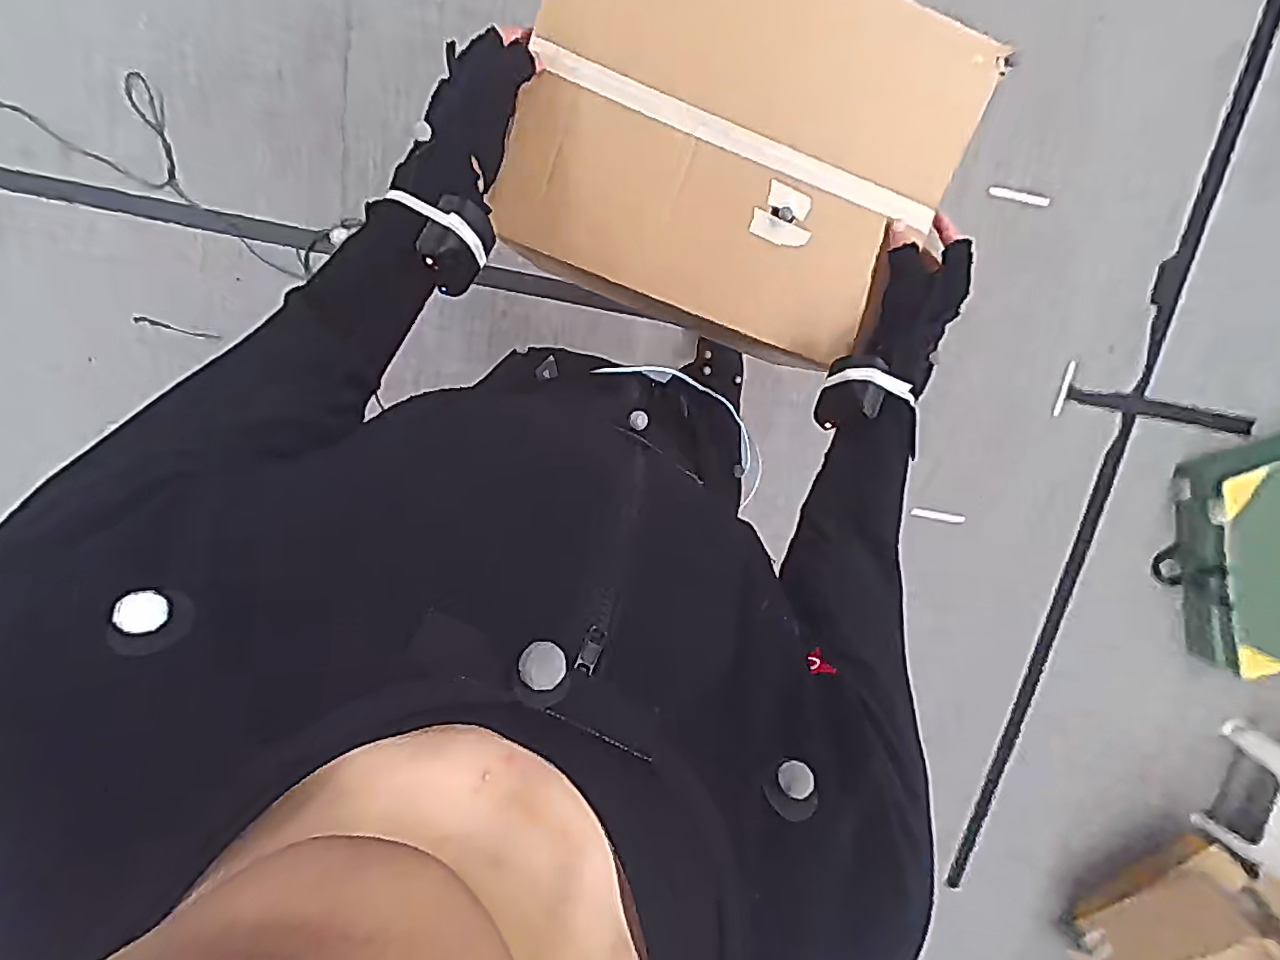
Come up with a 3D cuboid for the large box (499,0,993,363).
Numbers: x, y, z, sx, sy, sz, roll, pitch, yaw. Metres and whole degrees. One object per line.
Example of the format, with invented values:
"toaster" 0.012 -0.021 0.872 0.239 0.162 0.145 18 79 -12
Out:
"large box" 0.090 -0.362 0.661 0.408 0.320 0.320 20 105 -6
